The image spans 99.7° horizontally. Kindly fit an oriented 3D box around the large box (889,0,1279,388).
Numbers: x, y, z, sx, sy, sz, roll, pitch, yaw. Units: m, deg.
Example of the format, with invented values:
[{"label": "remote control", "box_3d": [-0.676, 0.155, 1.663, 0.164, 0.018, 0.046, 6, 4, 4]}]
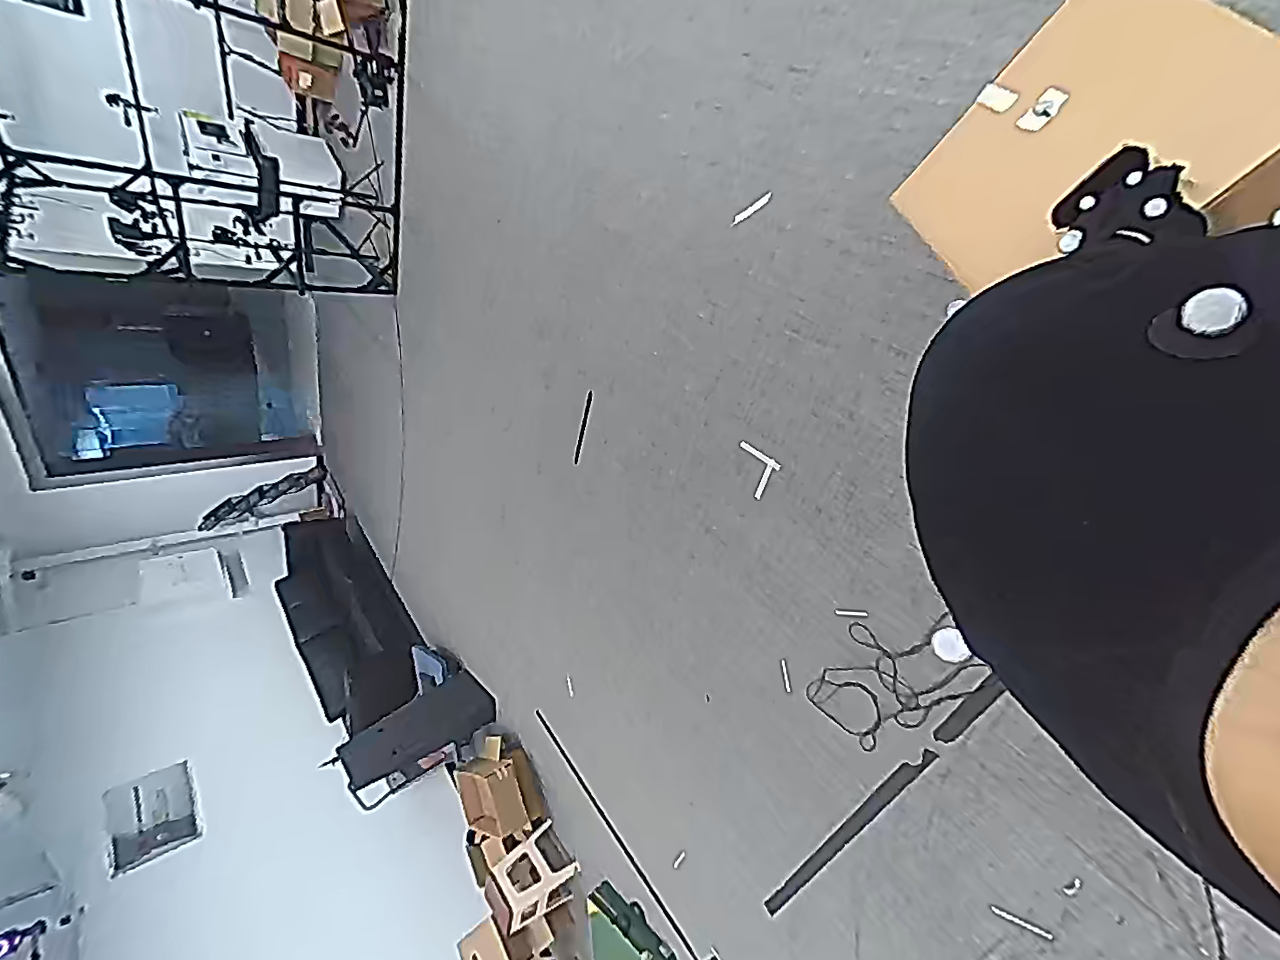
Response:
[{"label": "large box", "box_3d": [0.650, -0.367, 0.759, 0.320, 0.408, 0.320, -48, 51, 43]}]
